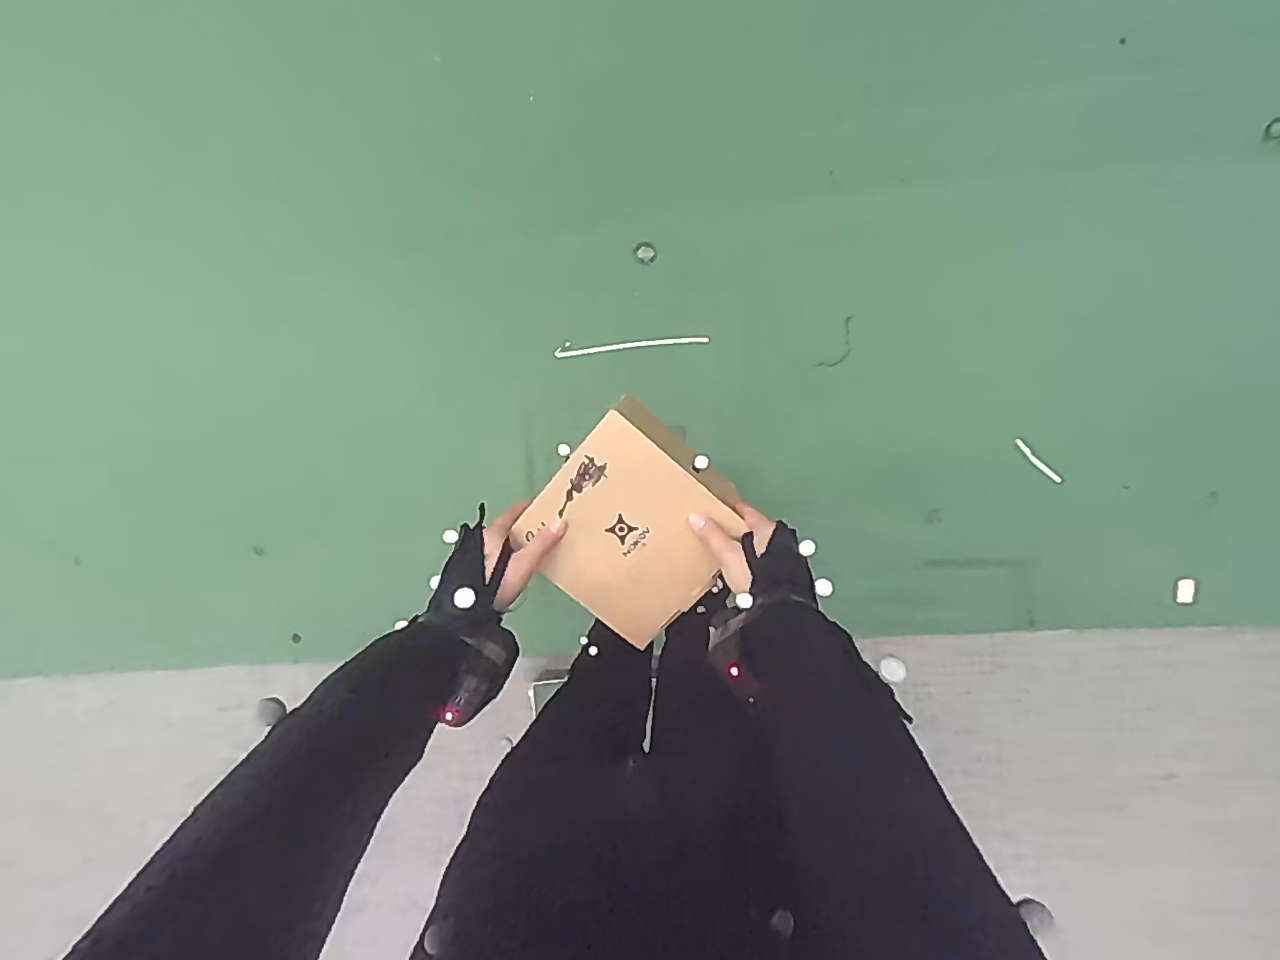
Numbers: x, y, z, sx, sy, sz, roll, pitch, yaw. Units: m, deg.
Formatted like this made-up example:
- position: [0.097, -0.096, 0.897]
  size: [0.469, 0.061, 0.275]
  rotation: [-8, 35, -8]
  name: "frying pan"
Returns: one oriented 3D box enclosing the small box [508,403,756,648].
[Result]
- position: [-0.004, 0.034, 0.578]
  size: [0.179, 0.176, 0.168]
  rotation: [41, 102, -7]
  name: "small box"
